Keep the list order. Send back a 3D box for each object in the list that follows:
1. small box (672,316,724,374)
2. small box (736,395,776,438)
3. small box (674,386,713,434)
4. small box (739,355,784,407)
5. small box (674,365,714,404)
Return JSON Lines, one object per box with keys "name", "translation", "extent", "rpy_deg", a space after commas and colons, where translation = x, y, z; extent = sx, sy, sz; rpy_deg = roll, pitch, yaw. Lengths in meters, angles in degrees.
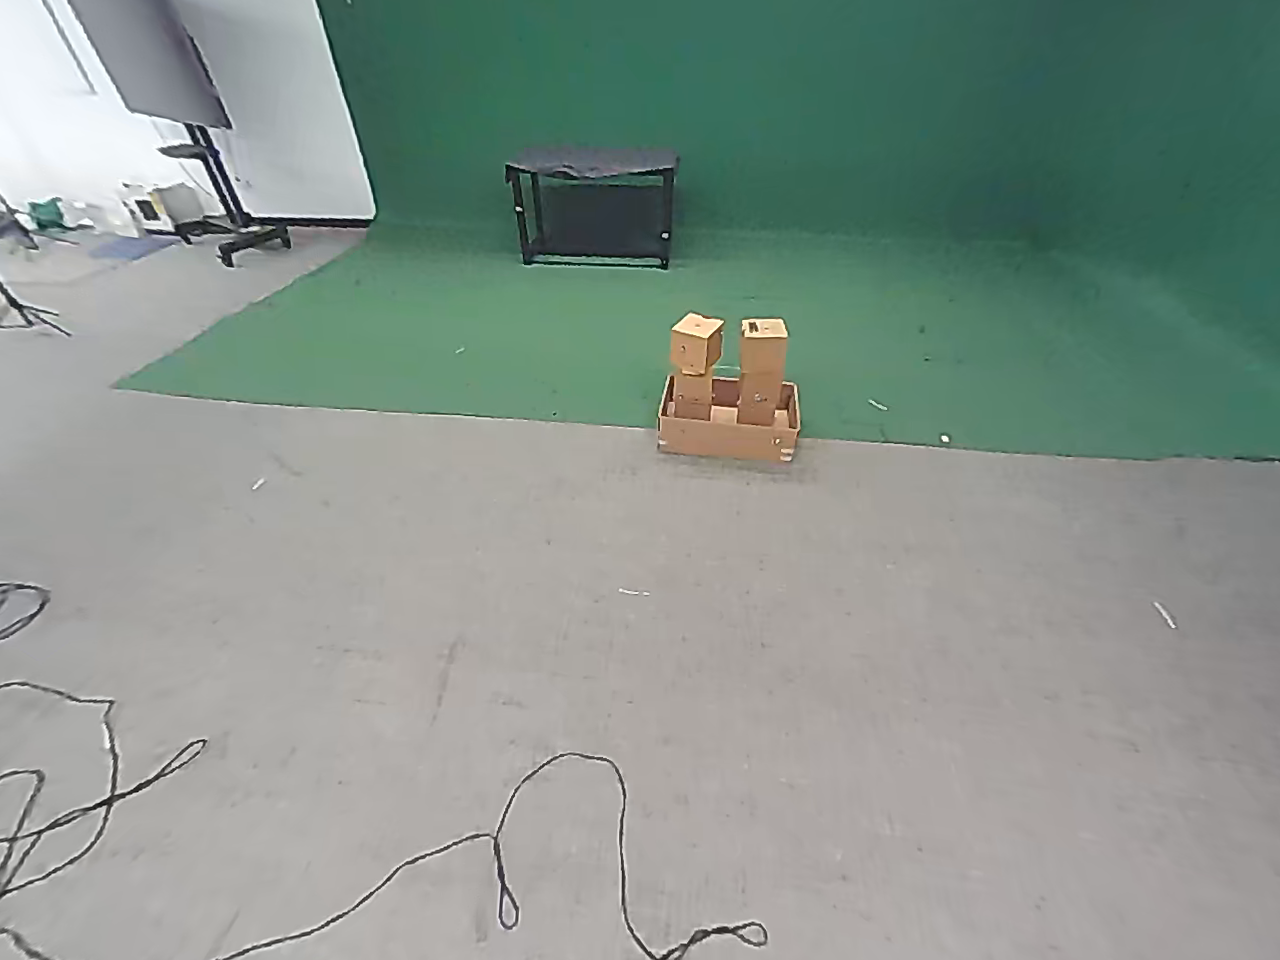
{"name": "small box", "translation": [0.245, -0.573, 2.301], "extent": [0.168, 0.176, 0.179], "rpy_deg": [21, 44, 22]}
{"name": "small box", "translation": [0.540, -0.319, 2.512], "extent": [0.168, 0.176, 0.179], "rpy_deg": [8, 42, 11]}
{"name": "small box", "translation": [0.248, -0.336, 2.527], "extent": [0.168, 0.176, 0.179], "rpy_deg": [4, 41, 5]}
{"name": "small box", "translation": [0.536, -0.441, 2.403], "extent": [0.168, 0.176, 0.179], "rpy_deg": [0, 43, 4]}
{"name": "small box", "translation": [0.242, -0.454, 2.413], "extent": [0.168, 0.176, 0.179], "rpy_deg": [6, 40, 5]}
